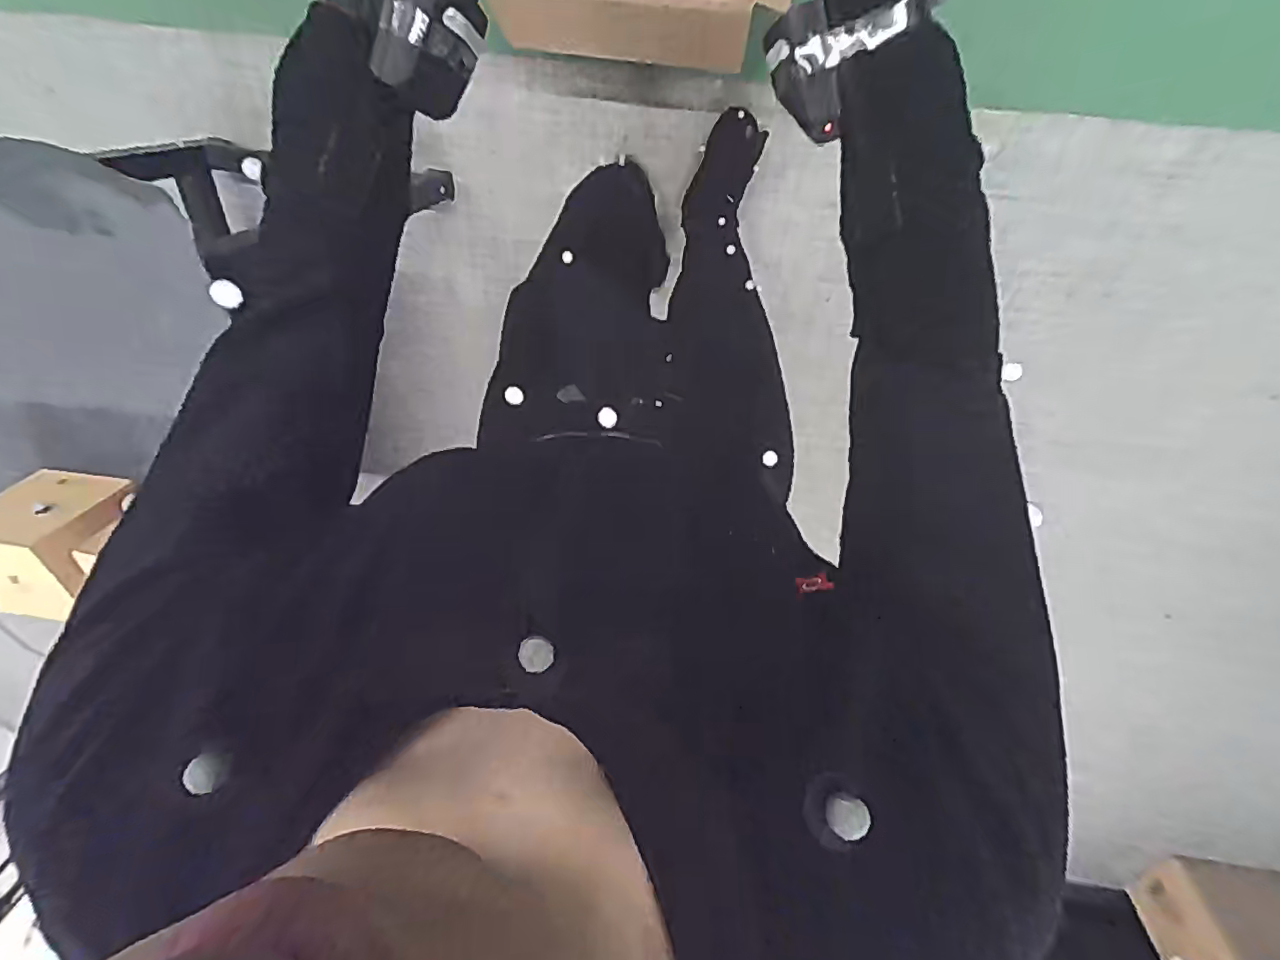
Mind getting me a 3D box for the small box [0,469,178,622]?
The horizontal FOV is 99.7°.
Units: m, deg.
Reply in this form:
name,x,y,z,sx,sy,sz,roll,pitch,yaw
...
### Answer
name,x,y,z,sx,sy,sz,roll,pitch,yaw
small box,-0.919,0.101,0.874,0.168,0.176,0.179,6,129,4
